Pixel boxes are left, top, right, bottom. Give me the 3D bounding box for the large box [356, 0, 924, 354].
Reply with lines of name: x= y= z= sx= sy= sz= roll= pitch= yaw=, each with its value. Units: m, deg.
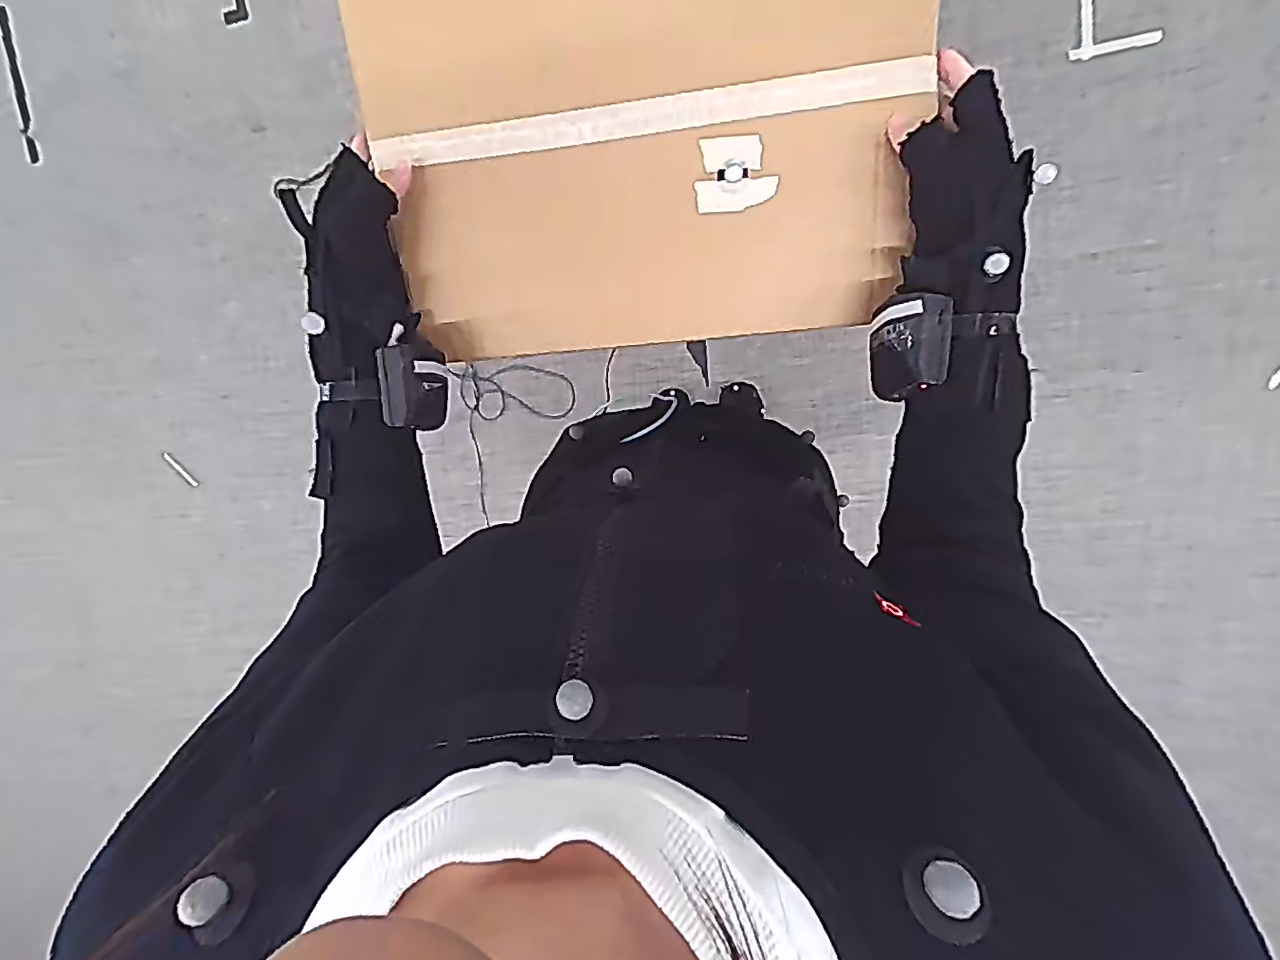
large box: x=0.011 y=-0.315 z=0.540 sx=0.408 sy=0.320 sz=0.320 roll=-4 pitch=108 yaw=6
